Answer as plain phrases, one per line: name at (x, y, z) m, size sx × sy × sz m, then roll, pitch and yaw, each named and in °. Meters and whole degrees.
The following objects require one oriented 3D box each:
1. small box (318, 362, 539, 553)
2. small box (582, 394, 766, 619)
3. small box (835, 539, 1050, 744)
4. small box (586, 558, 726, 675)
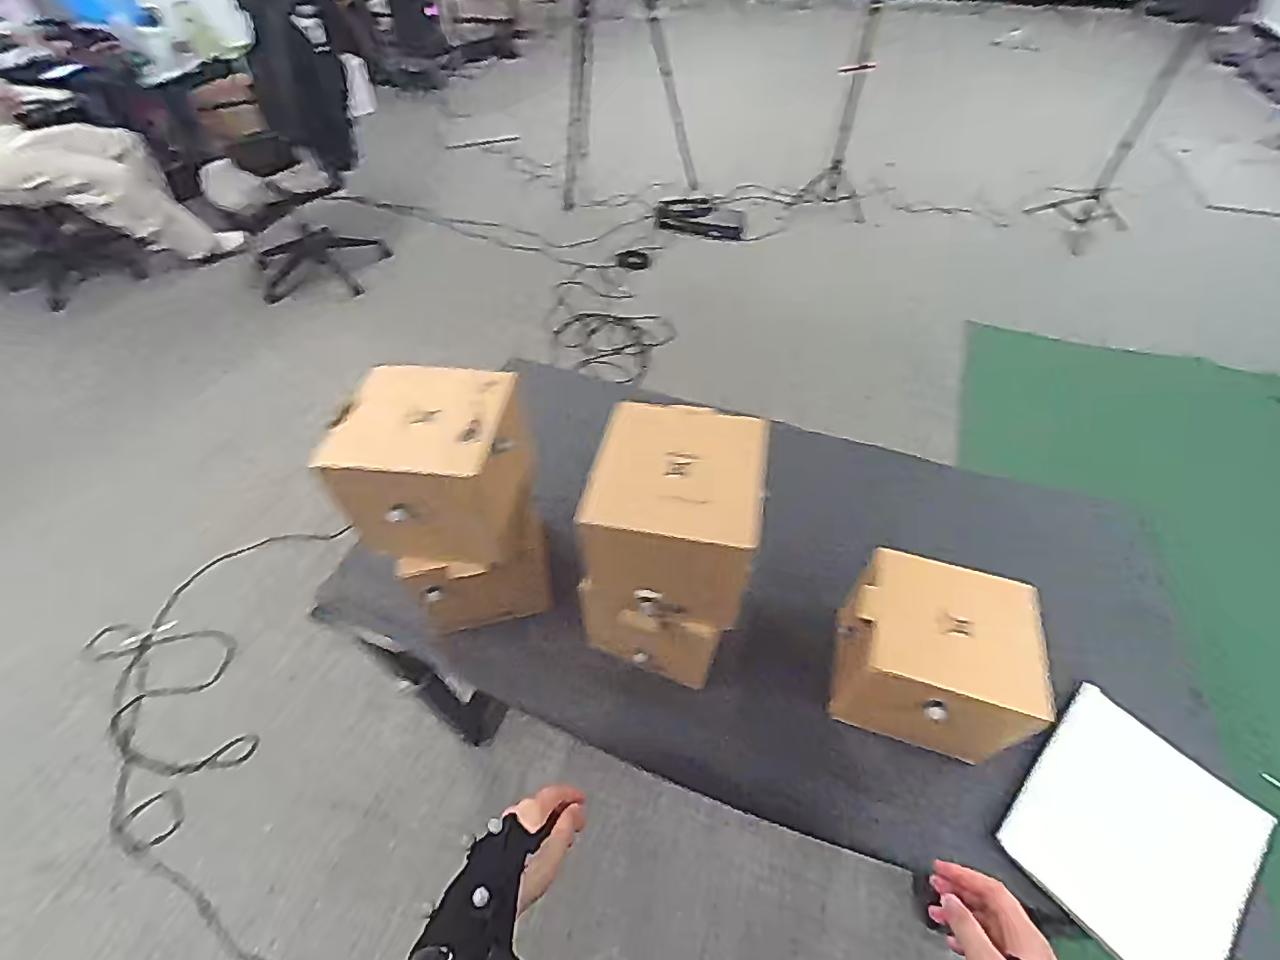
small box at (-0.237, -0.025, 0.661) m, size 0.179 × 0.176 × 0.168 m, roll 3°, pitch 51°, yaw 5°
small box at (0.042, 0.030, 0.609) m, size 0.168 × 0.176 × 0.179 m, roll 8°, pitch 51°, yaw 9°
small box at (0.358, 0.204, 0.668) m, size 0.179 × 0.176 × 0.168 m, roll 13°, pitch 51°, yaw 14°
small box at (0.042, 0.132, 0.736) m, size 0.168 × 0.176 × 0.179 m, roll 17°, pitch 53°, yaw 16°
